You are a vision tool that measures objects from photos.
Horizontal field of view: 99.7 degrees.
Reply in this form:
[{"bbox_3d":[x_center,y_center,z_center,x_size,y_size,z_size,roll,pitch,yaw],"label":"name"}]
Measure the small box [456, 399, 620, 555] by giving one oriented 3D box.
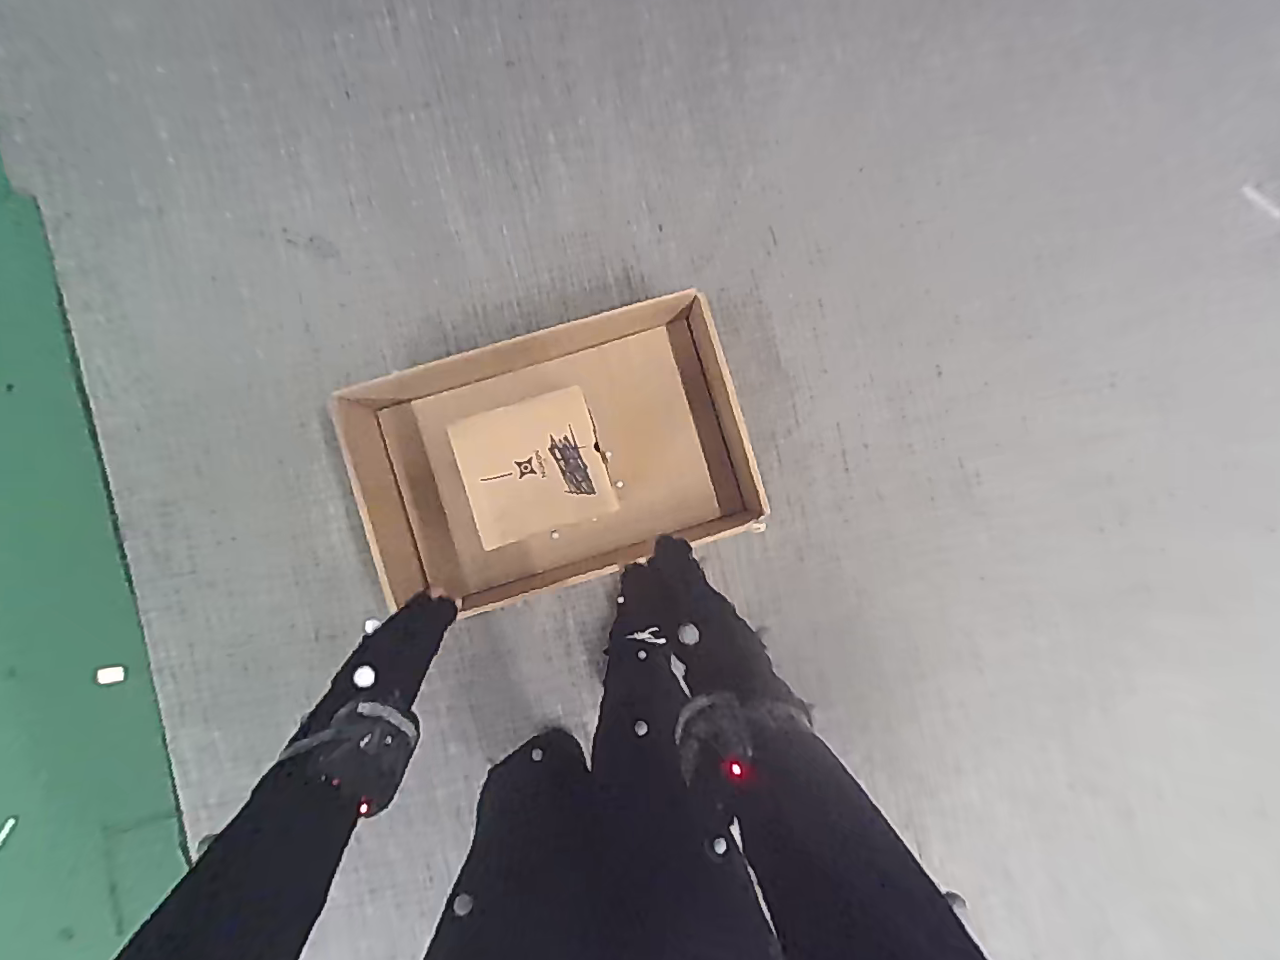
[{"bbox_3d":[-0.133,-0.004,0.767,0.179,0.176,0.168,-16,89,-1],"label":"small box"}]
